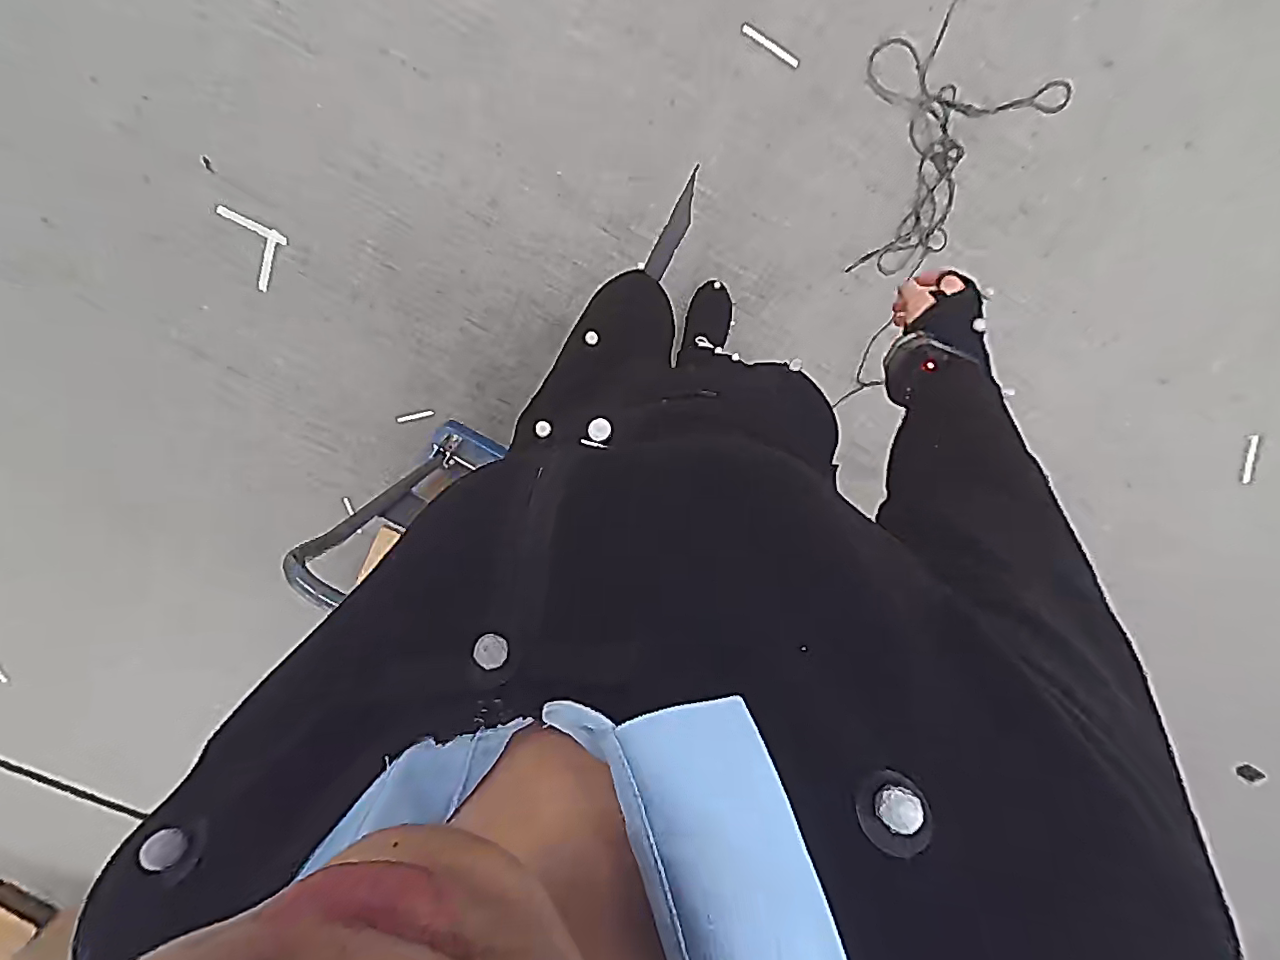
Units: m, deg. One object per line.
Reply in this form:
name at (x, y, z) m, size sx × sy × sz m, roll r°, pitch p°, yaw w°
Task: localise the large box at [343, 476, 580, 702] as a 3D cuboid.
large box at (-0.406, 0.249, 1.308) m, size 0.408 × 0.320 × 0.320 m, roll 28°, pitch 109°, yaw -7°
